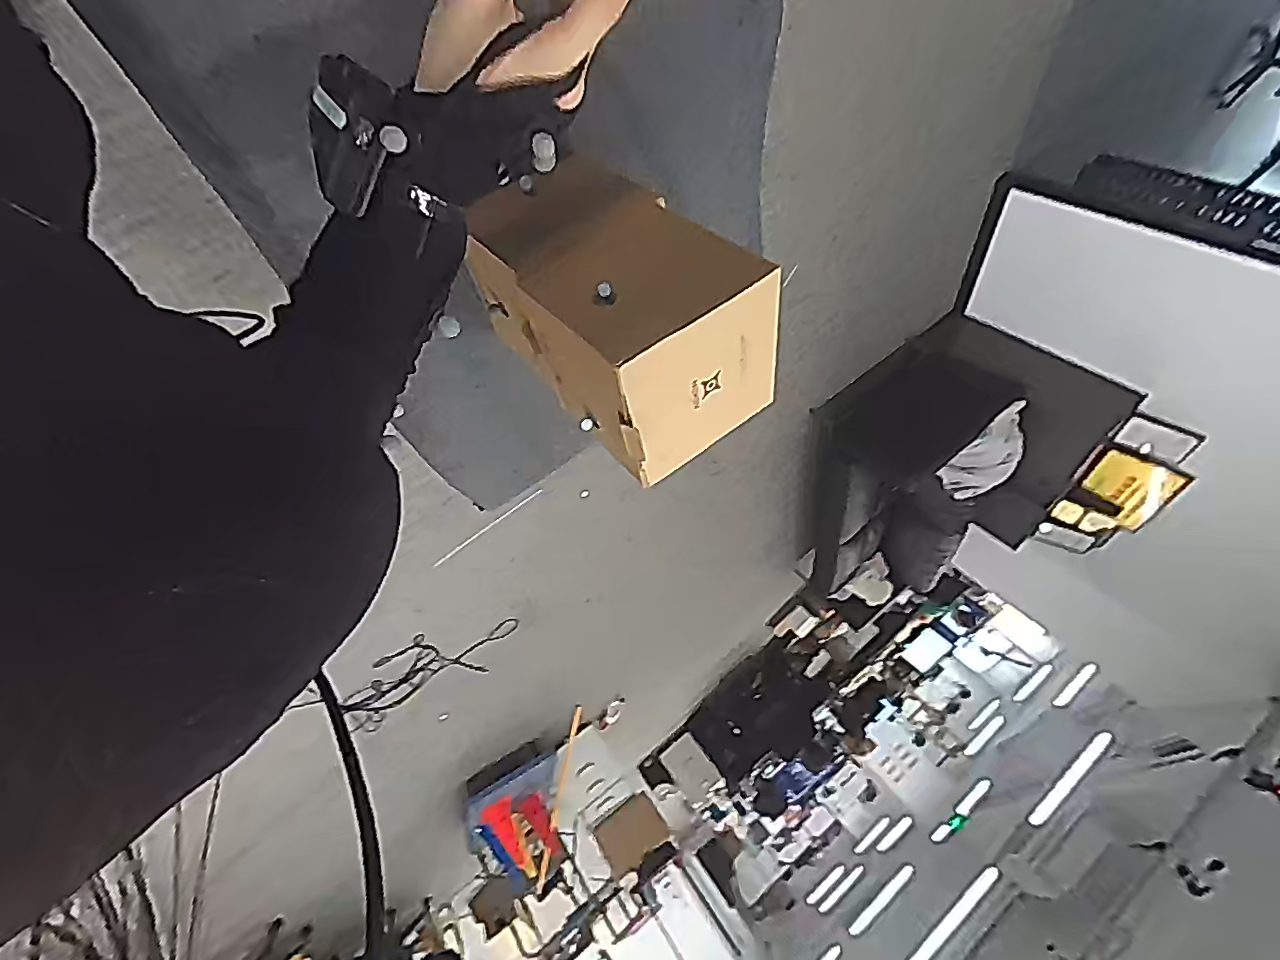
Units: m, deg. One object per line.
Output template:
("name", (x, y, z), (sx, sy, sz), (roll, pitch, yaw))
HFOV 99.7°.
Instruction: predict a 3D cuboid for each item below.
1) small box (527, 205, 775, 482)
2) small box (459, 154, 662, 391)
("small box", (0.009, -0.138, 0.536), (0.179, 0.176, 0.168), (-36, 146, -15))
("small box", (-0.085, -0.241, 0.621), (0.179, 0.176, 0.168), (-34, 145, -16))
